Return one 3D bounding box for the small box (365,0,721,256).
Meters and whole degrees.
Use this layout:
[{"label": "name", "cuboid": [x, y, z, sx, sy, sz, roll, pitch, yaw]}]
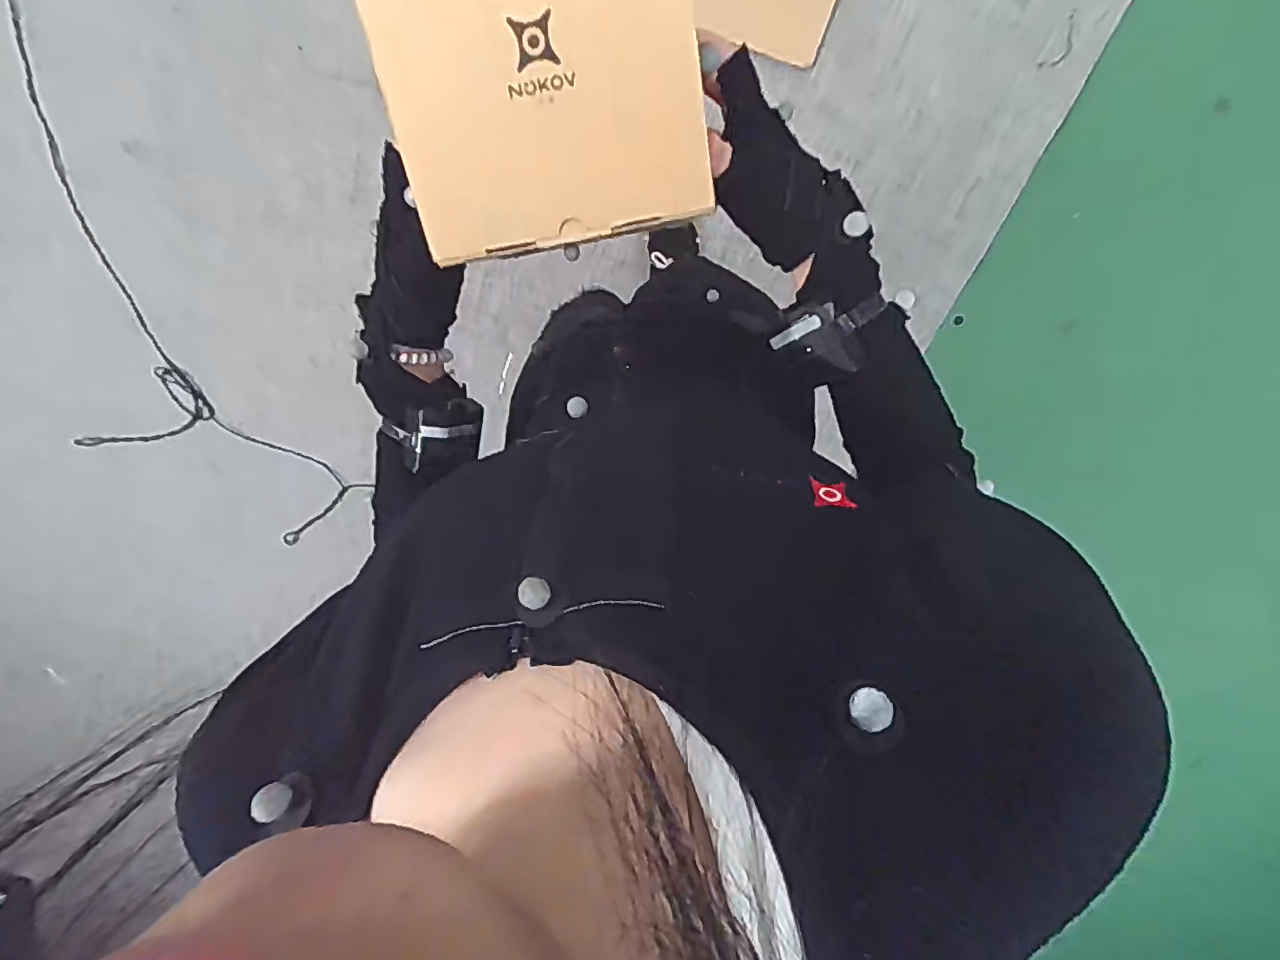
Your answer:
[{"label": "small box", "cuboid": [-0.052, -0.253, 0.345, 0.168, 0.176, 0.179, -10, 116, 3]}]
